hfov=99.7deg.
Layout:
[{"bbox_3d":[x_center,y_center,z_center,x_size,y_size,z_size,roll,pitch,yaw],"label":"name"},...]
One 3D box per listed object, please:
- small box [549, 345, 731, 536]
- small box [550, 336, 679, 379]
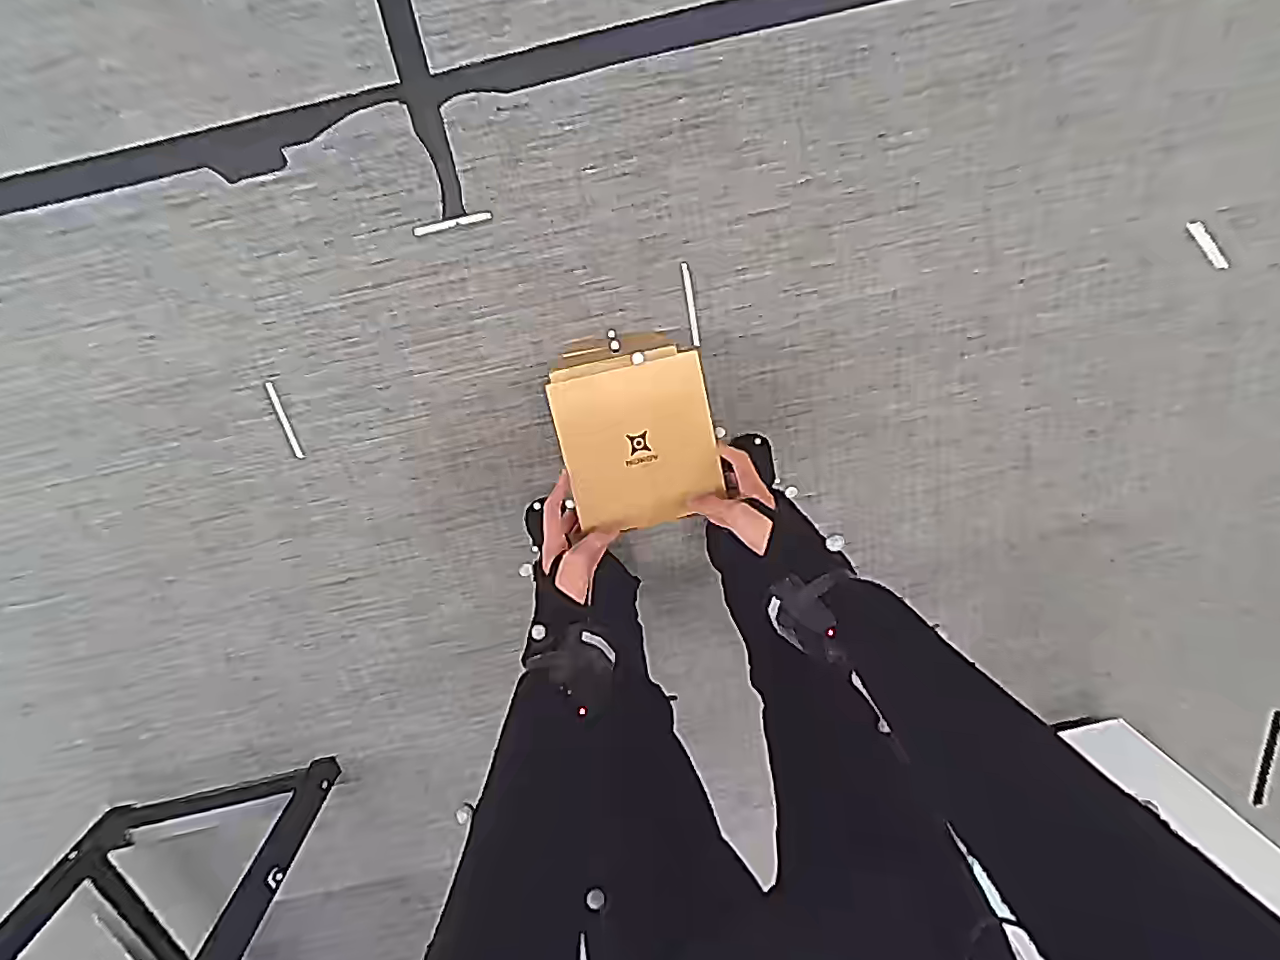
[{"bbox_3d":[-0.002,-0.052,0.649,0.168,0.176,0.179,-14,100,1],"label":"small box"},{"bbox_3d":[-0.025,-0.114,0.812,0.179,0.176,0.168,-13,110,-1],"label":"small box"}]
